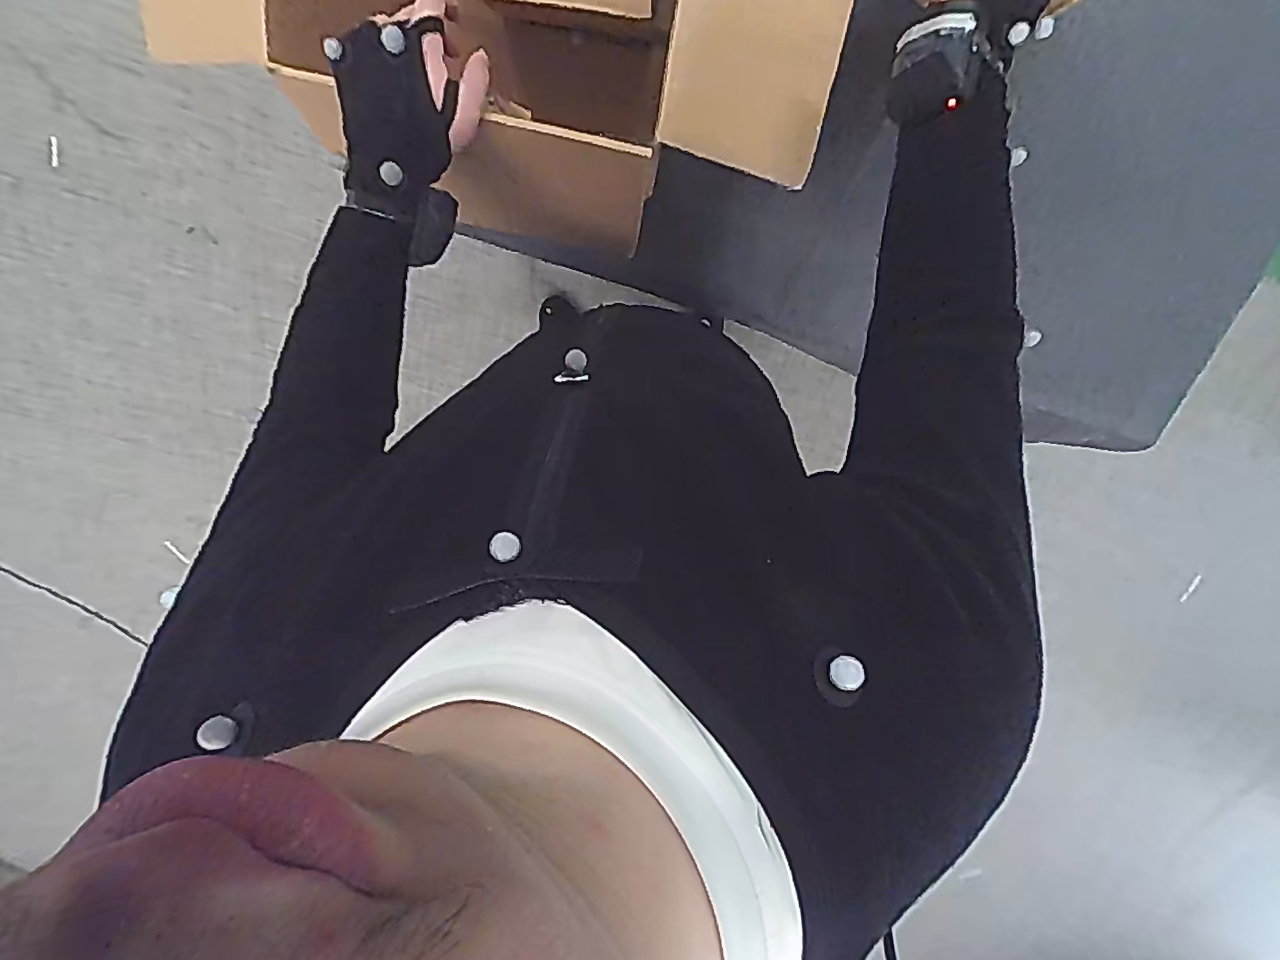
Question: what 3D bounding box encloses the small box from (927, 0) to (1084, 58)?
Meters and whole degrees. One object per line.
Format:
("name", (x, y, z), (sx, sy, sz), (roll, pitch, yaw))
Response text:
("small box", (0.350, -0.524, 0.468), (0.168, 0.176, 0.179), (35, 108, -13))
